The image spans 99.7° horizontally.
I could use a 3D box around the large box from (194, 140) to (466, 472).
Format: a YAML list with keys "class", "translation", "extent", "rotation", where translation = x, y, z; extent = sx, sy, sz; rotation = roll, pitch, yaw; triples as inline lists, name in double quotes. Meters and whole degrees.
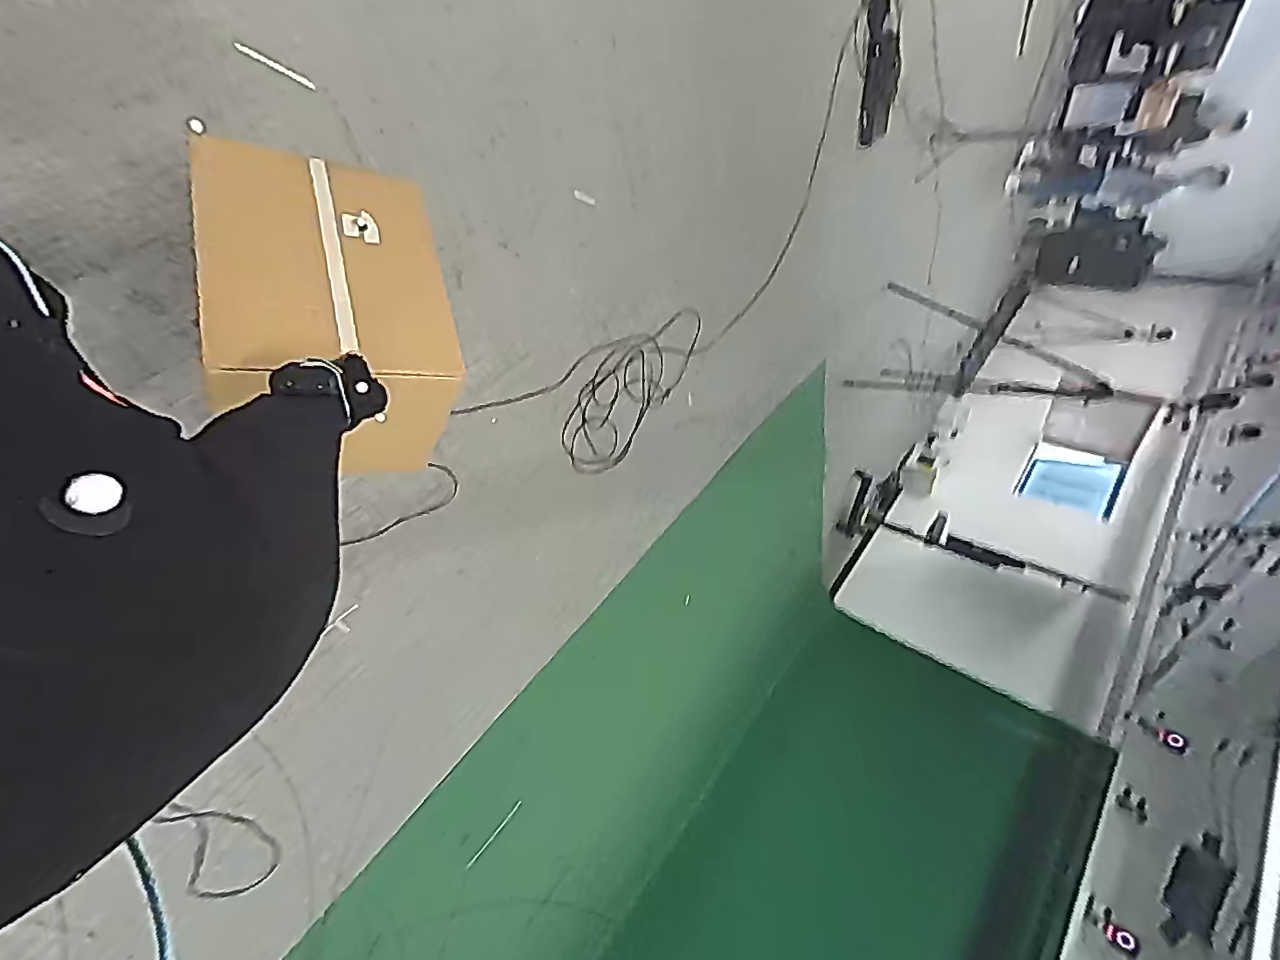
- class: "large box"
  translation: [-0.521, -0.267, 0.918]
  extent: [0.320, 0.408, 0.320]
  rotation: [-7, 158, -34]
